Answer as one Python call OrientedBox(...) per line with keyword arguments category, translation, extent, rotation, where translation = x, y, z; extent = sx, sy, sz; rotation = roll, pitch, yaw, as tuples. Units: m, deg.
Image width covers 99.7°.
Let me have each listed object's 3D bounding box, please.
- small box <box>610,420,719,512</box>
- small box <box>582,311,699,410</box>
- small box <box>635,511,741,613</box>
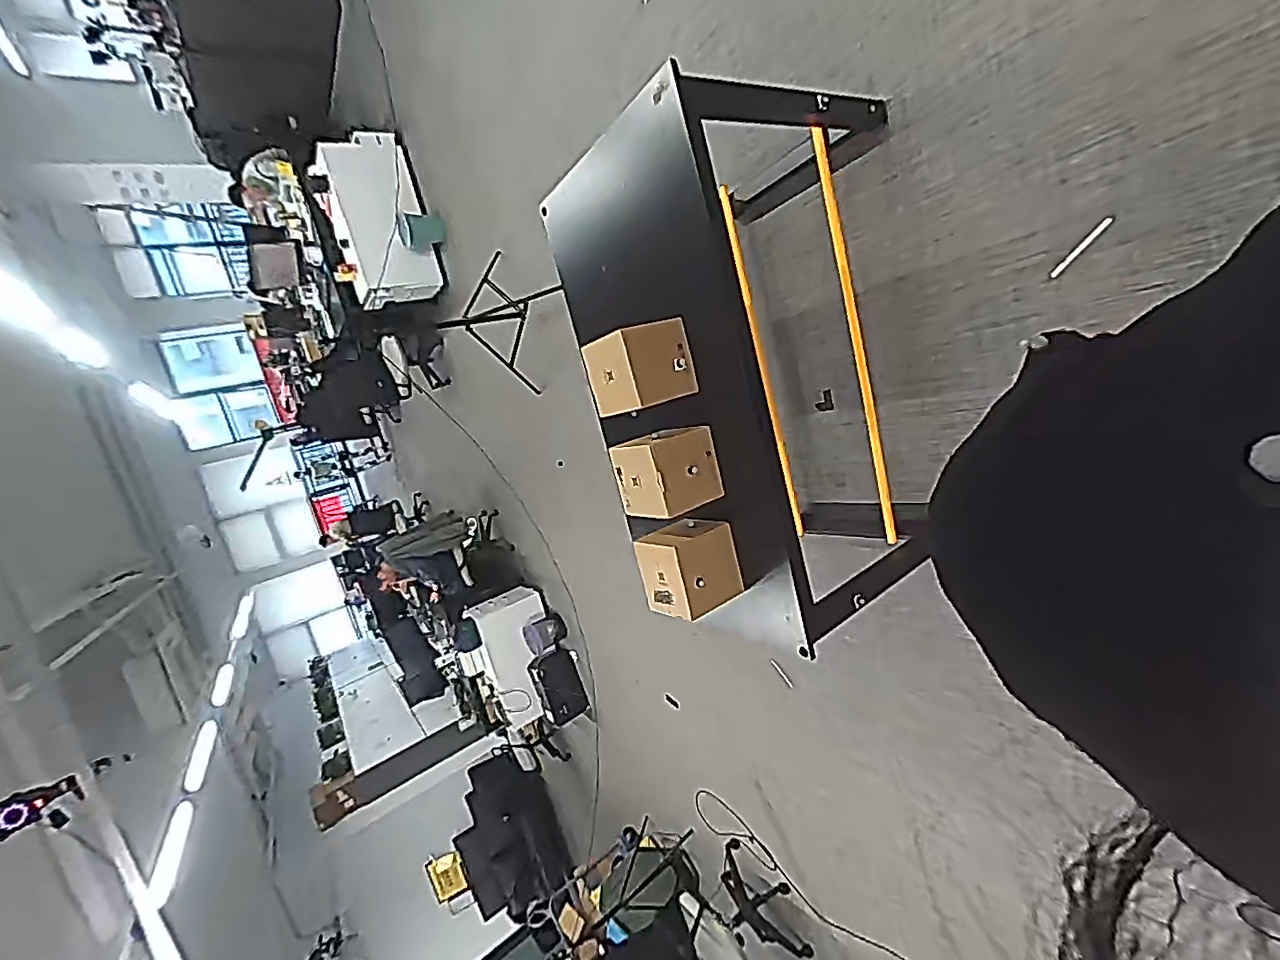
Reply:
OrientedBox(category="small box", translation=(0.062, -0.036, 1.237), extent=(0.179, 0.176, 0.168), rotation=(1, 109, 56))
OrientedBox(category="small box", translation=(0.001, -0.263, 1.199), extent=(0.179, 0.176, 0.168), rotation=(-3, 107, 56))
OrientedBox(category="small box", translation=(0.117, 0.186, 1.280), extent=(0.168, 0.176, 0.179), rotation=(0, 107, 56))
